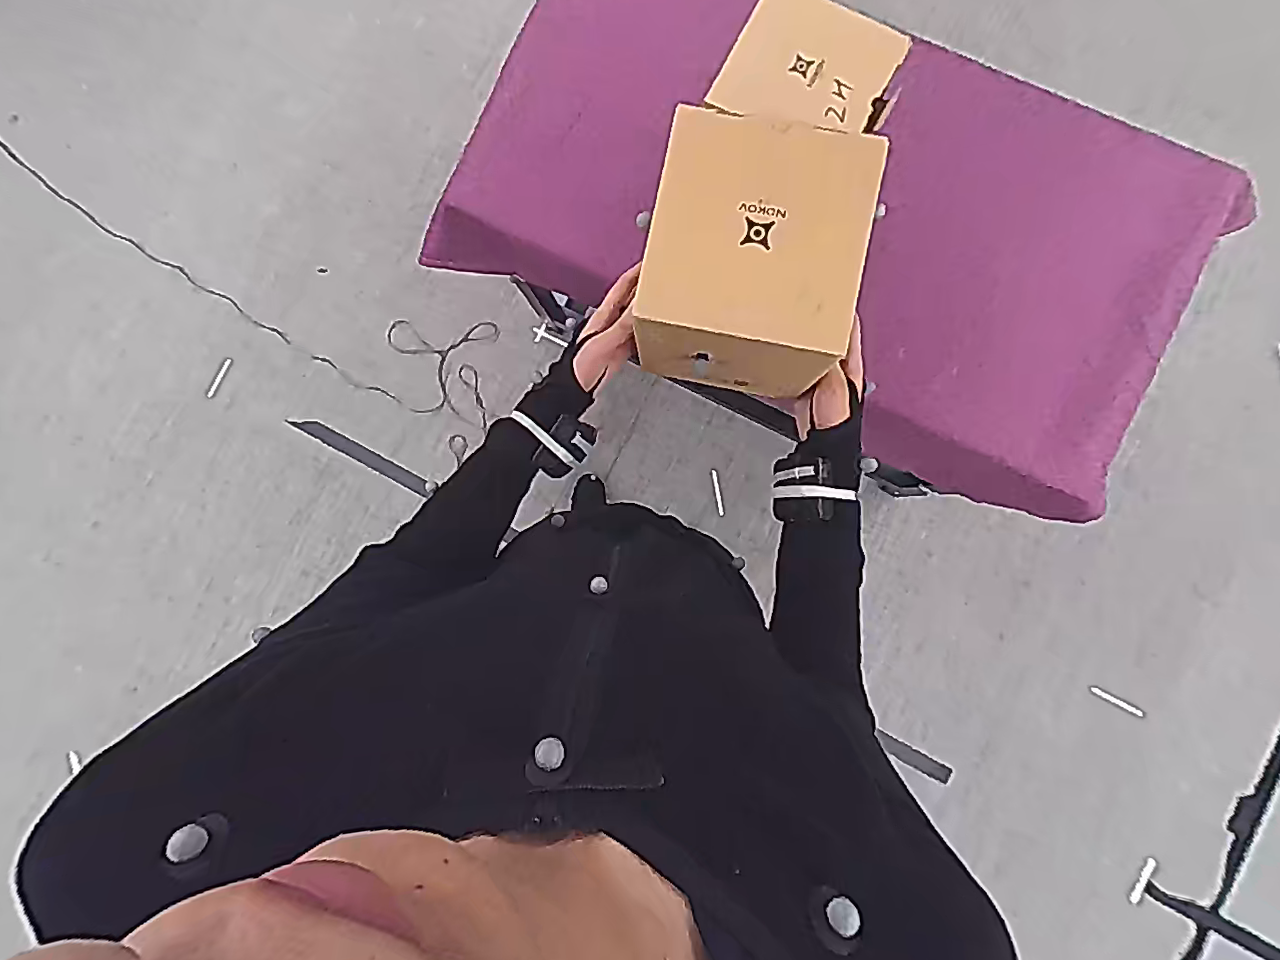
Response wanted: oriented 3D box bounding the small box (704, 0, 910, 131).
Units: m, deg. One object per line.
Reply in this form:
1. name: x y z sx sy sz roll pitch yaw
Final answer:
1. small box: 0.189 -0.450 0.680 0.179 0.176 0.168 29 89 4

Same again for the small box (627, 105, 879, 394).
1. small box: 0.092 -0.189 0.492 0.168 0.176 0.179 11 86 4
